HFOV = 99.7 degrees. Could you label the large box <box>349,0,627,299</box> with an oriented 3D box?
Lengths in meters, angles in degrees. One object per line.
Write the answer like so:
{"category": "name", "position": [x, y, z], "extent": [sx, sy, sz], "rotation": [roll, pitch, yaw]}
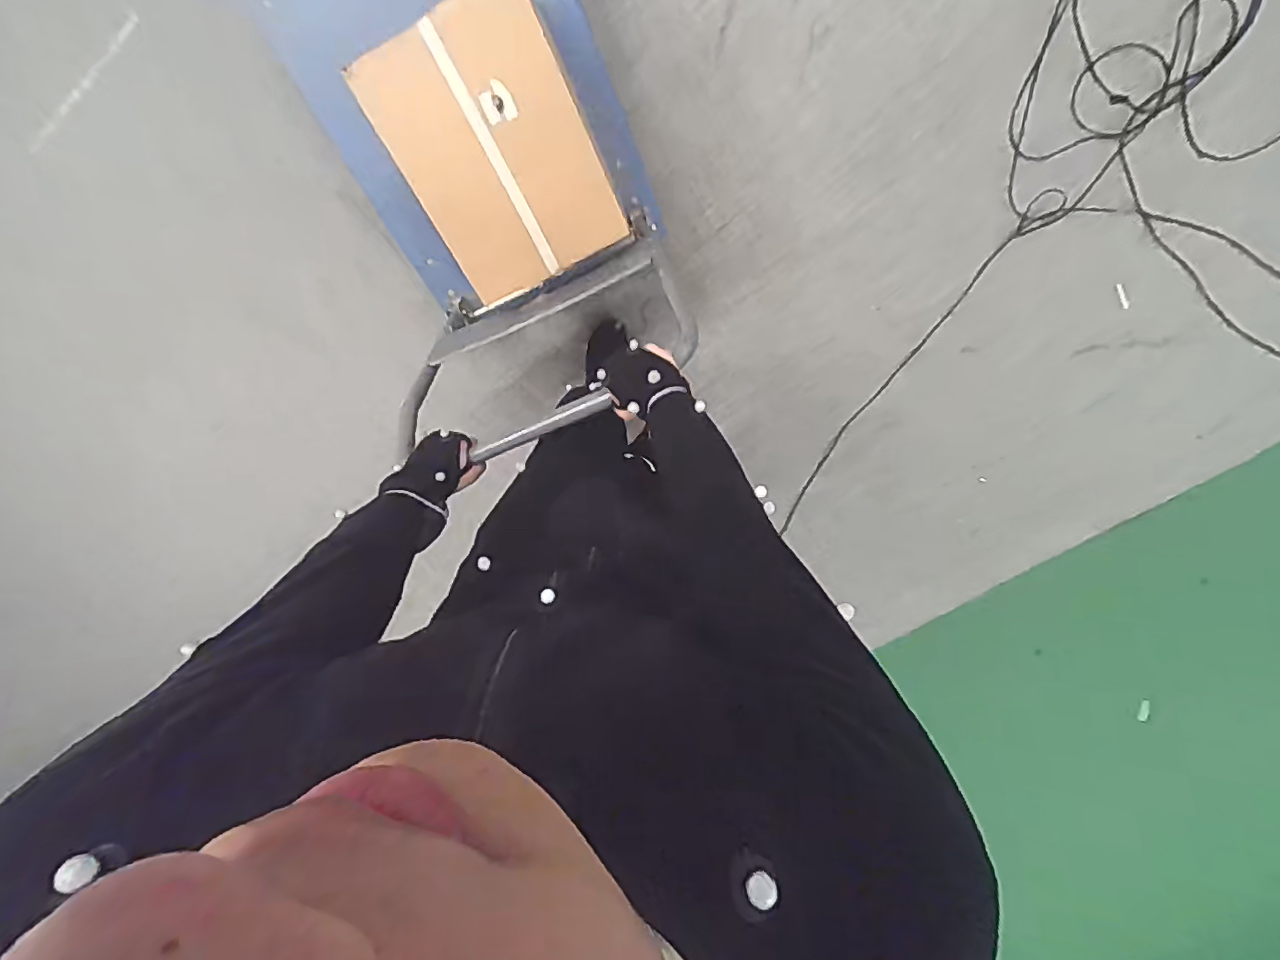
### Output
{"category": "large box", "position": [-0.248, -0.636, 1.052], "extent": [0.320, 0.320, 0.408], "rotation": [-23, 122, 11]}
